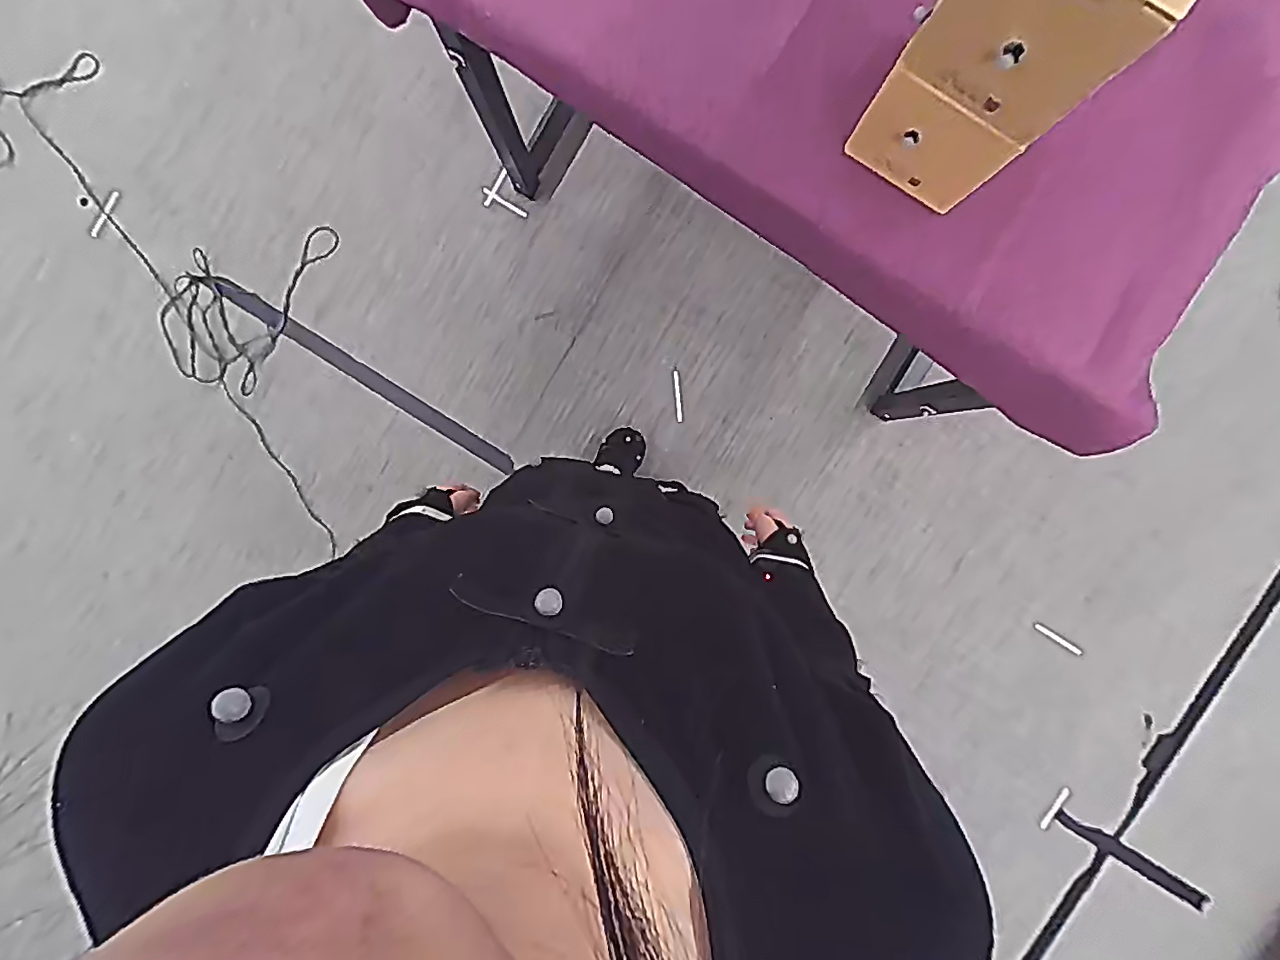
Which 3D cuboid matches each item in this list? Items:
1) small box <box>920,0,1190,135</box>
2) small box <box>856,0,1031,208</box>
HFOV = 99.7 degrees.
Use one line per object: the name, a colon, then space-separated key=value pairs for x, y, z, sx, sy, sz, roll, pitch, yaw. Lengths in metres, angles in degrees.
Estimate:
small box: x=0.397 y=-0.473 z=0.499 sx=0.168 sy=0.176 sz=0.179 roll=33 pitch=93 yaw=-1
small box: x=0.394 y=-0.477 z=0.663 sx=0.168 sy=0.176 sz=0.179 roll=32 pitch=92 yaw=-1
